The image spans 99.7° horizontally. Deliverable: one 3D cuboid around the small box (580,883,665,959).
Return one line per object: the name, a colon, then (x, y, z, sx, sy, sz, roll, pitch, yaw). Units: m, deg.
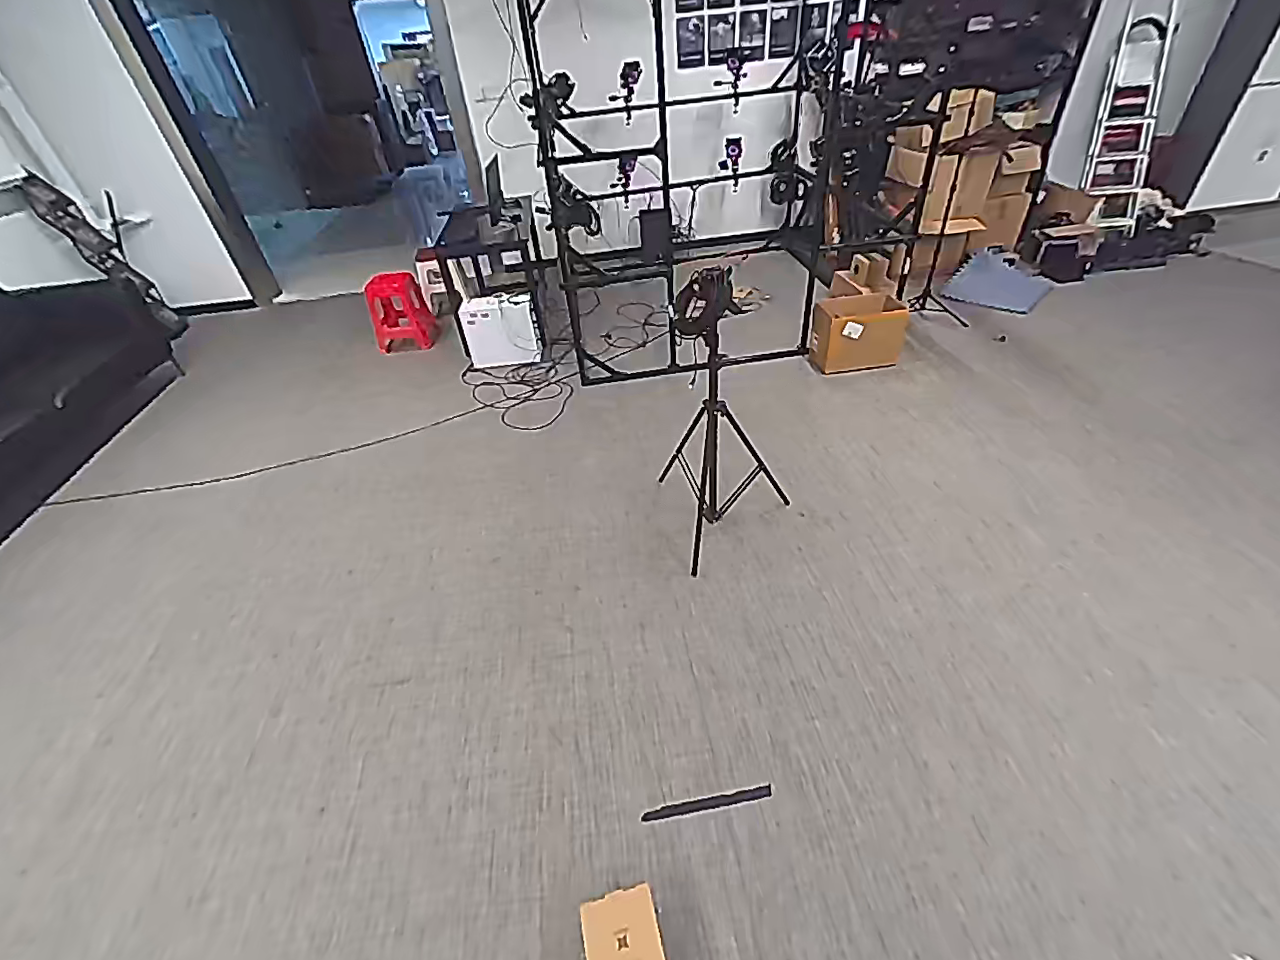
small box: (-0.035, 1.061, 1.223, 0.168, 0.176, 0.179, -13, 40, -7)
